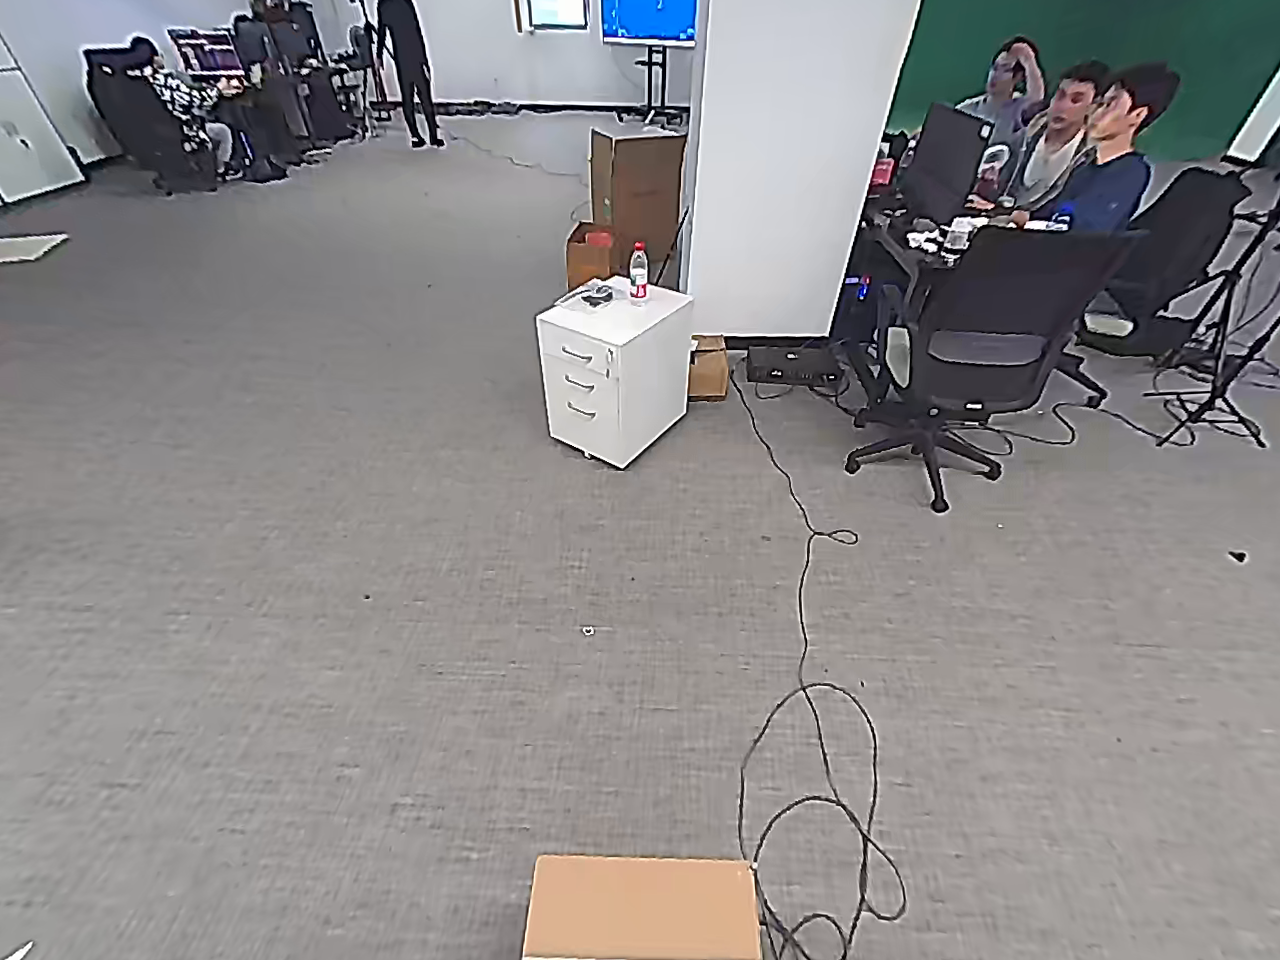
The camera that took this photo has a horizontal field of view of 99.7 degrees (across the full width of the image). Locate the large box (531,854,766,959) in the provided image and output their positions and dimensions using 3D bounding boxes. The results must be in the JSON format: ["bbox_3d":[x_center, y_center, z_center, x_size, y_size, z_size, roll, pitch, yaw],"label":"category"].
[{"bbox_3d":[0.013,0.924,1.000,0.408,0.320,0.320,1,41,1],"label":"large box"}]
